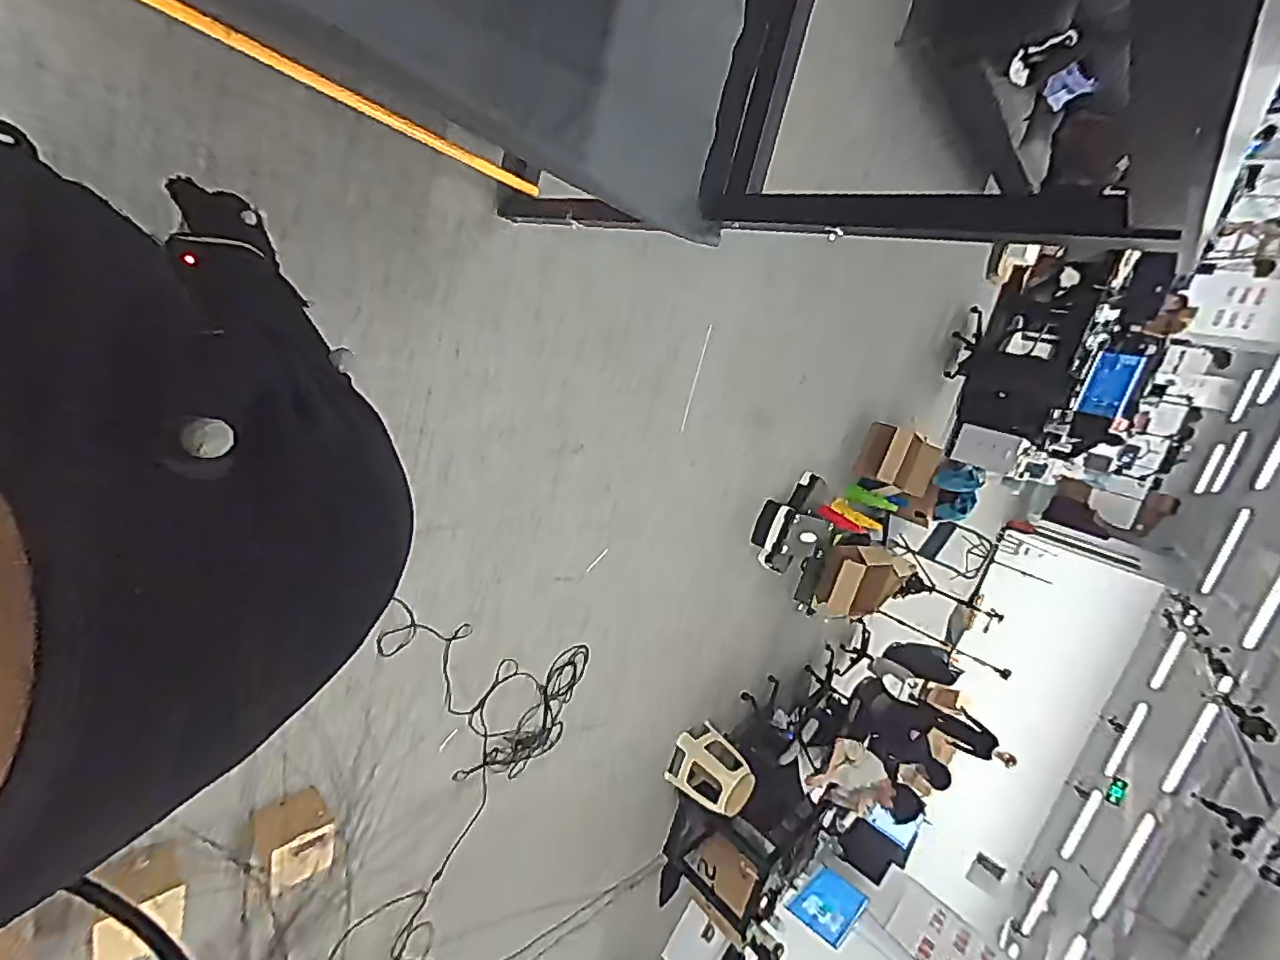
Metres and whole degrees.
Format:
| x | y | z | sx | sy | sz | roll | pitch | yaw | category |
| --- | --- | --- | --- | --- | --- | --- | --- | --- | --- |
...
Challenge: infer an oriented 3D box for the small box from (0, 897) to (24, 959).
| x | y | z | sx | sy | sz | roll | pitch | yaw | category |
| --- | --- | --- | --- | --- | --- | --- | --- | --- | --- |
| -1.479 | 1.073 | 1.174 | 0.168 | 0.176 | 0.179 | 12 | 100 | -50 | small box |

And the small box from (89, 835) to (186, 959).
| x | y | z | sx | sy | sz | roll | pitch | yaw | category |
| --- | --- | --- | --- | --- | --- | --- | --- | --- | --- |
| -1.286 | 1.070 | 1.385 | 0.168 | 0.176 | 0.179 | -3 | 110 | -49 | small box |
